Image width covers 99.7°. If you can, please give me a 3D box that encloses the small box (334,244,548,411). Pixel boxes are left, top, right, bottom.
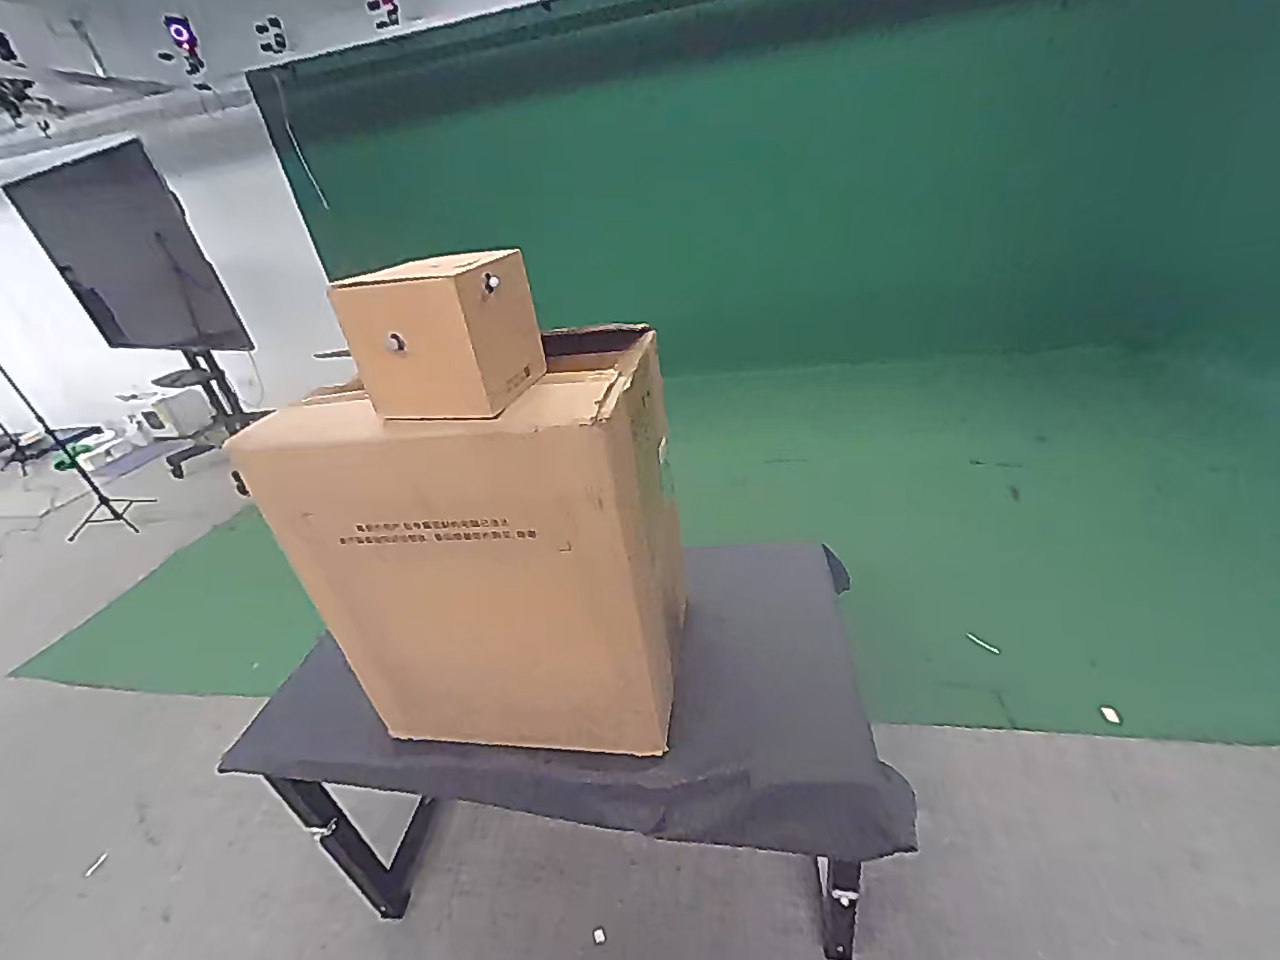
[{"bbox_3d":[-0.243,-0.197,0.705,0.179,0.176,0.168,1,32,17],"label":"small box"}]
